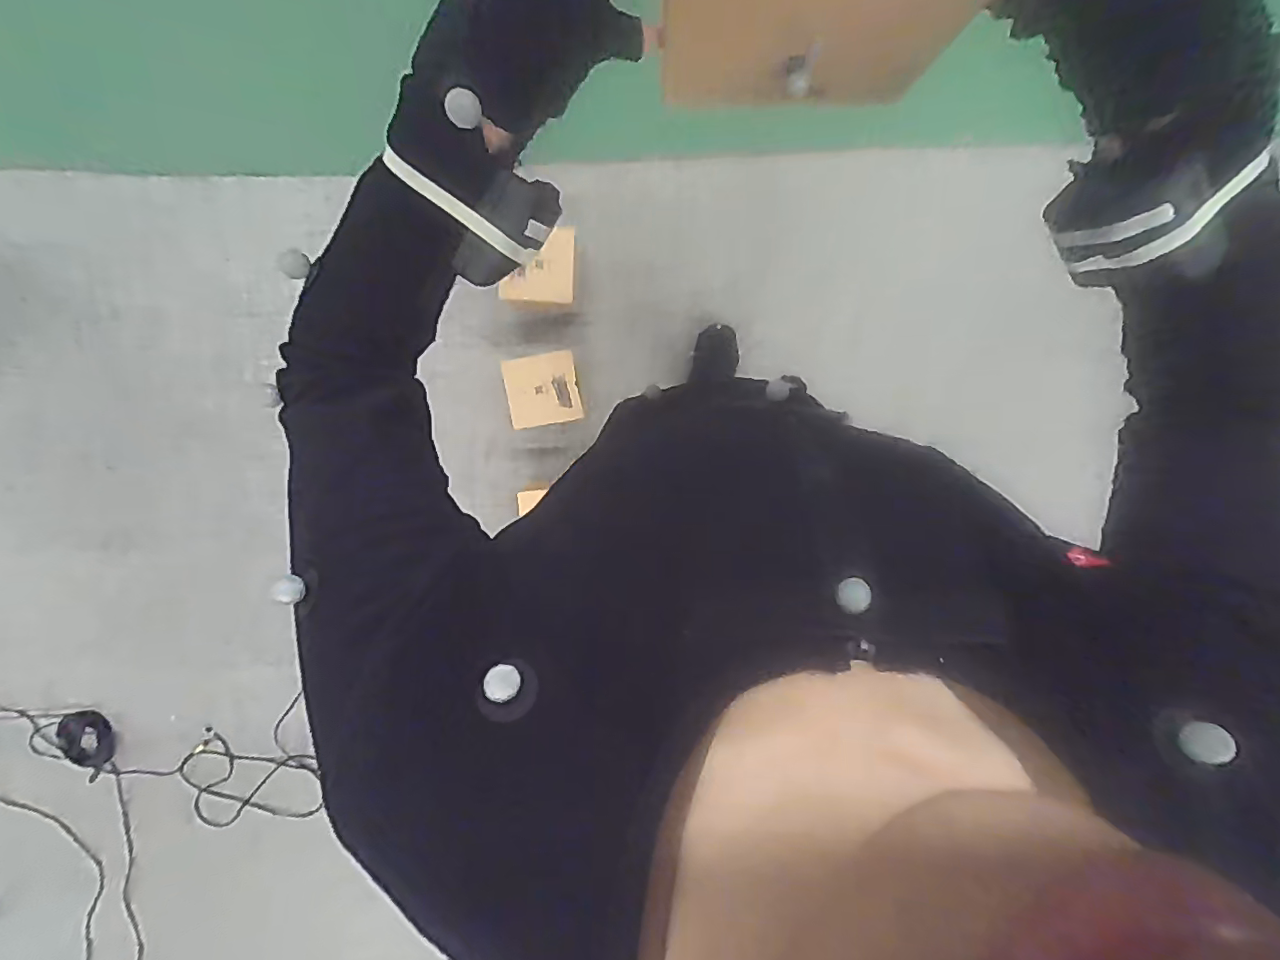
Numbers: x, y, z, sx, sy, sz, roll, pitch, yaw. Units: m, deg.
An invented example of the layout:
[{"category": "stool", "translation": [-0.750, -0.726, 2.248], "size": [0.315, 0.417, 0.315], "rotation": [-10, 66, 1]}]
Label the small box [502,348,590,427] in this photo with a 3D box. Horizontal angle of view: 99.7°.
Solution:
[{"category": "small box", "translation": [-0.225, -0.231, 1.356], "size": [0.179, 0.176, 0.168], "rotation": [-9, 98, 4]}]
